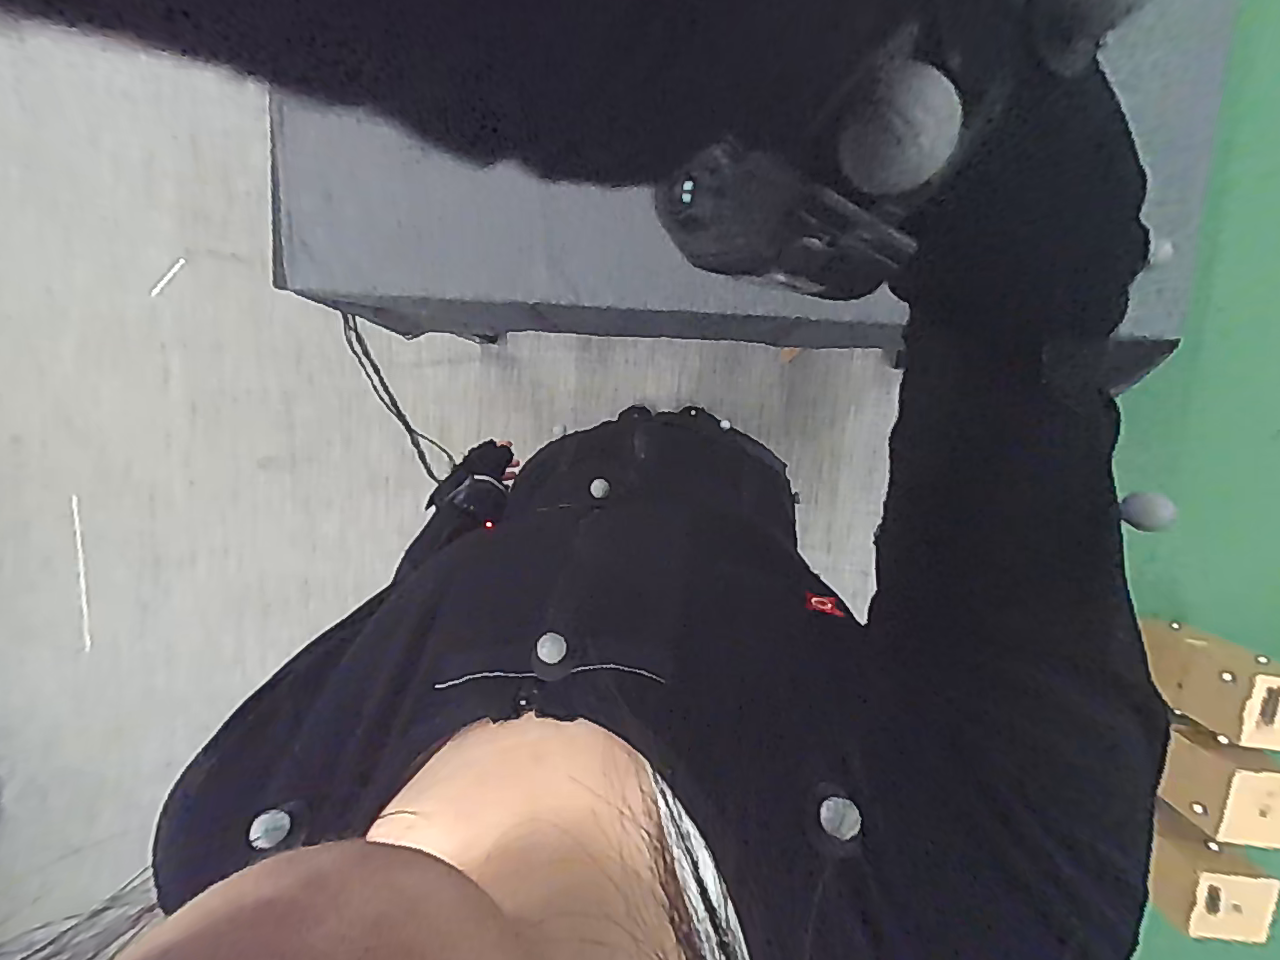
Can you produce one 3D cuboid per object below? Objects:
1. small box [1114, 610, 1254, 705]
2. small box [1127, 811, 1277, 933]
[{"bbox_3d":[1.393,0.451,1.400,0.179,0.176,0.168,9,98,2],"label":"small box"},{"bbox_3d":[1.338,0.933,1.302,0.179,0.176,0.168,4,99,2],"label":"small box"}]
